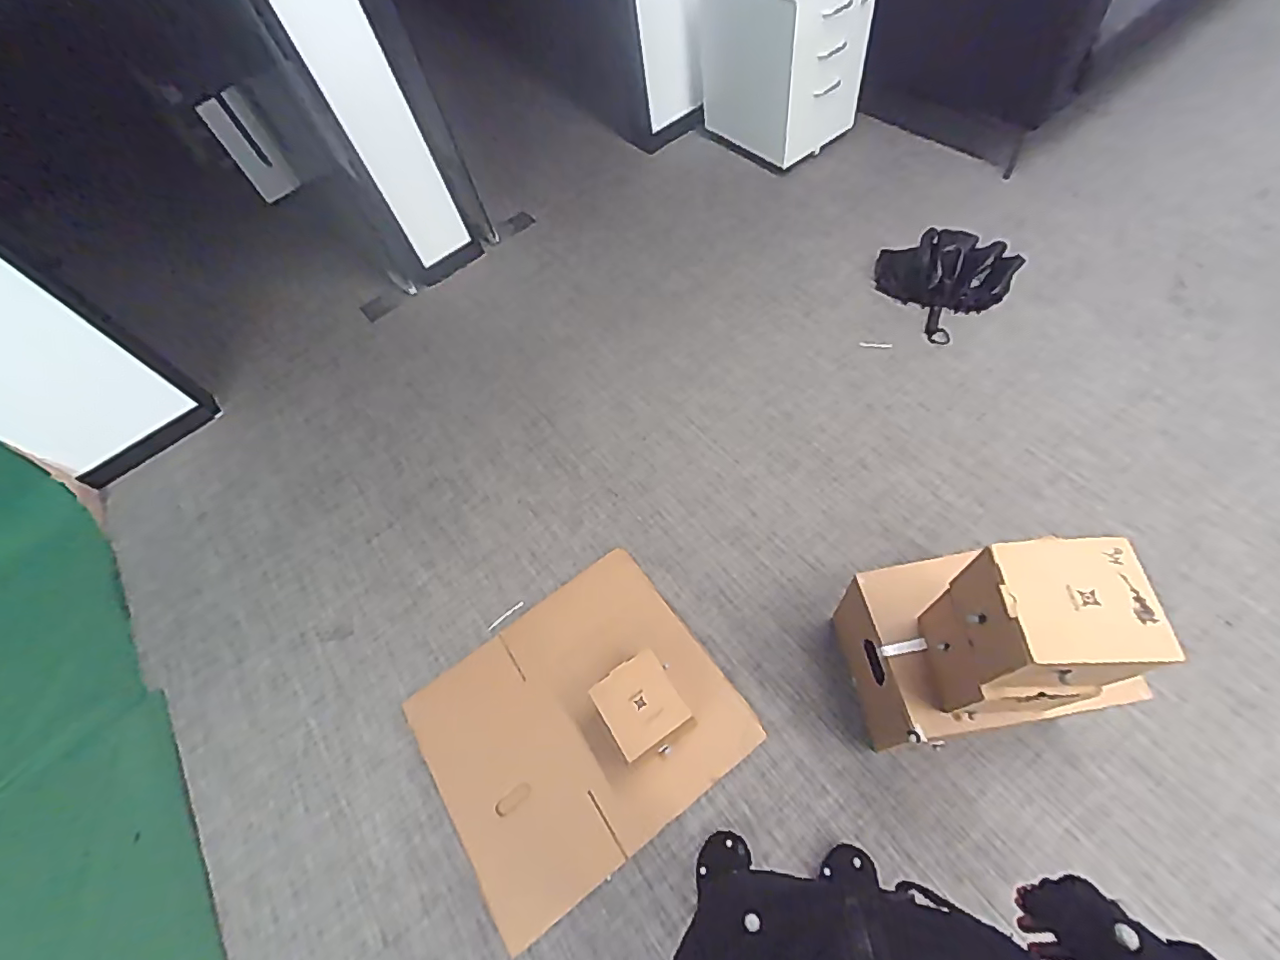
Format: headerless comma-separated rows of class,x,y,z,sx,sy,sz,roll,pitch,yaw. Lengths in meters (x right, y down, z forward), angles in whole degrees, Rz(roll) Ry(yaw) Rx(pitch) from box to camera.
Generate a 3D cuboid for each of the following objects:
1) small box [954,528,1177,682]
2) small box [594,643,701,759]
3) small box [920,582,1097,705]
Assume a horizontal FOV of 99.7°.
small box,0.579,0.185,0.774,0.179,0.176,0.168,-6,58,6
small box,0.021,0.505,1.223,0.168,0.176,0.179,-34,60,-9
small box,0.597,0.276,0.906,0.168,0.176,0.179,-6,59,7
